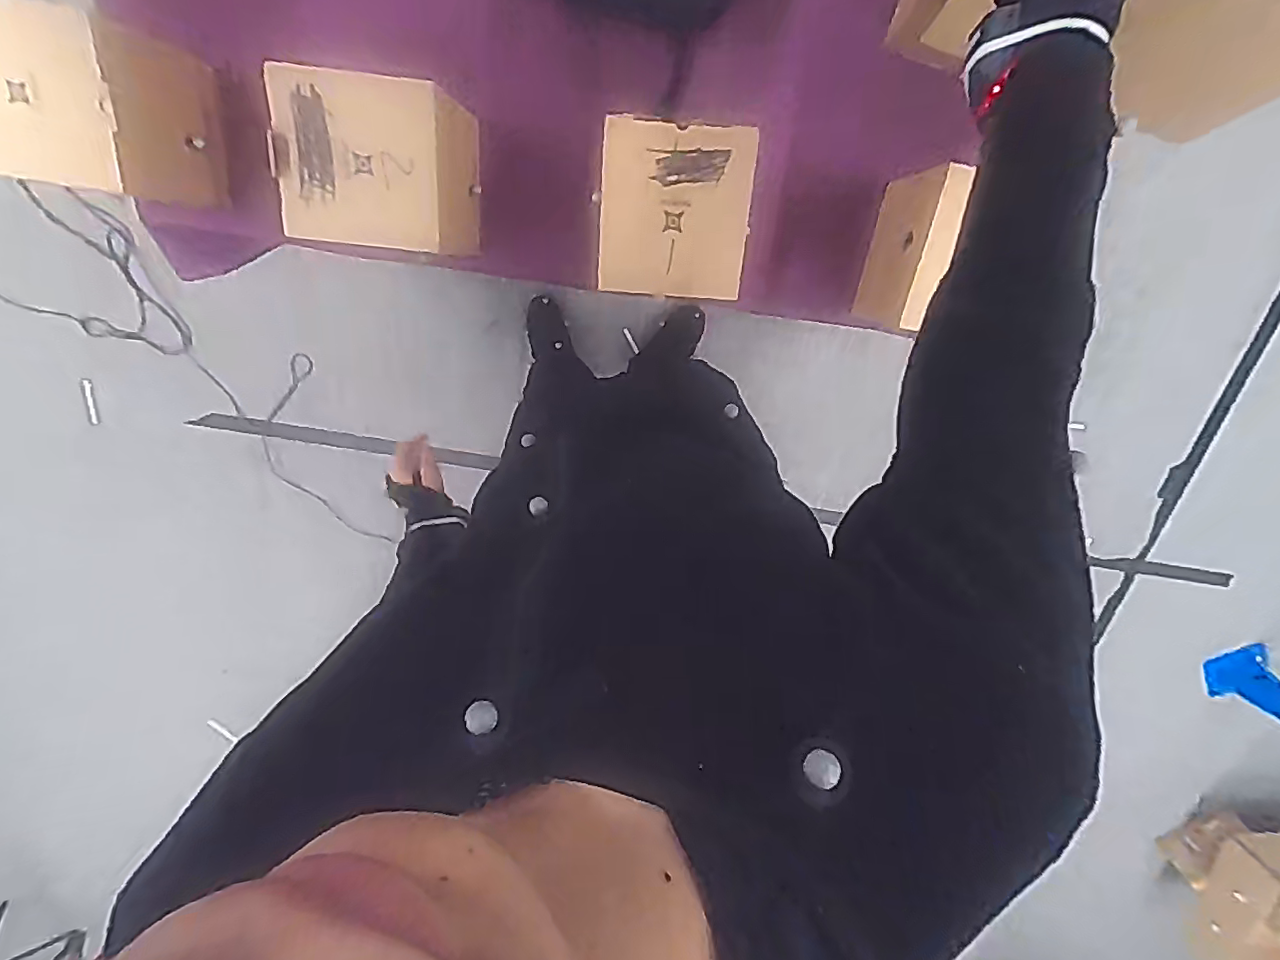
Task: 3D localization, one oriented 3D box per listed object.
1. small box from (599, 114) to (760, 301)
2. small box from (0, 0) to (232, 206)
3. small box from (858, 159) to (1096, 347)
[{"bbox_3d":[0.040,-0.325,0.668,0.168,0.176,0.179,4,113,-1],"label":"small box"},{"bbox_3d":[-0.634,-0.428,0.635,0.179,0.176,0.168,6,112,-3],"label":"small box"},{"bbox_3d":[0.398,-0.278,0.680,0.168,0.176,0.179,9,112,-1],"label":"small box"}]
